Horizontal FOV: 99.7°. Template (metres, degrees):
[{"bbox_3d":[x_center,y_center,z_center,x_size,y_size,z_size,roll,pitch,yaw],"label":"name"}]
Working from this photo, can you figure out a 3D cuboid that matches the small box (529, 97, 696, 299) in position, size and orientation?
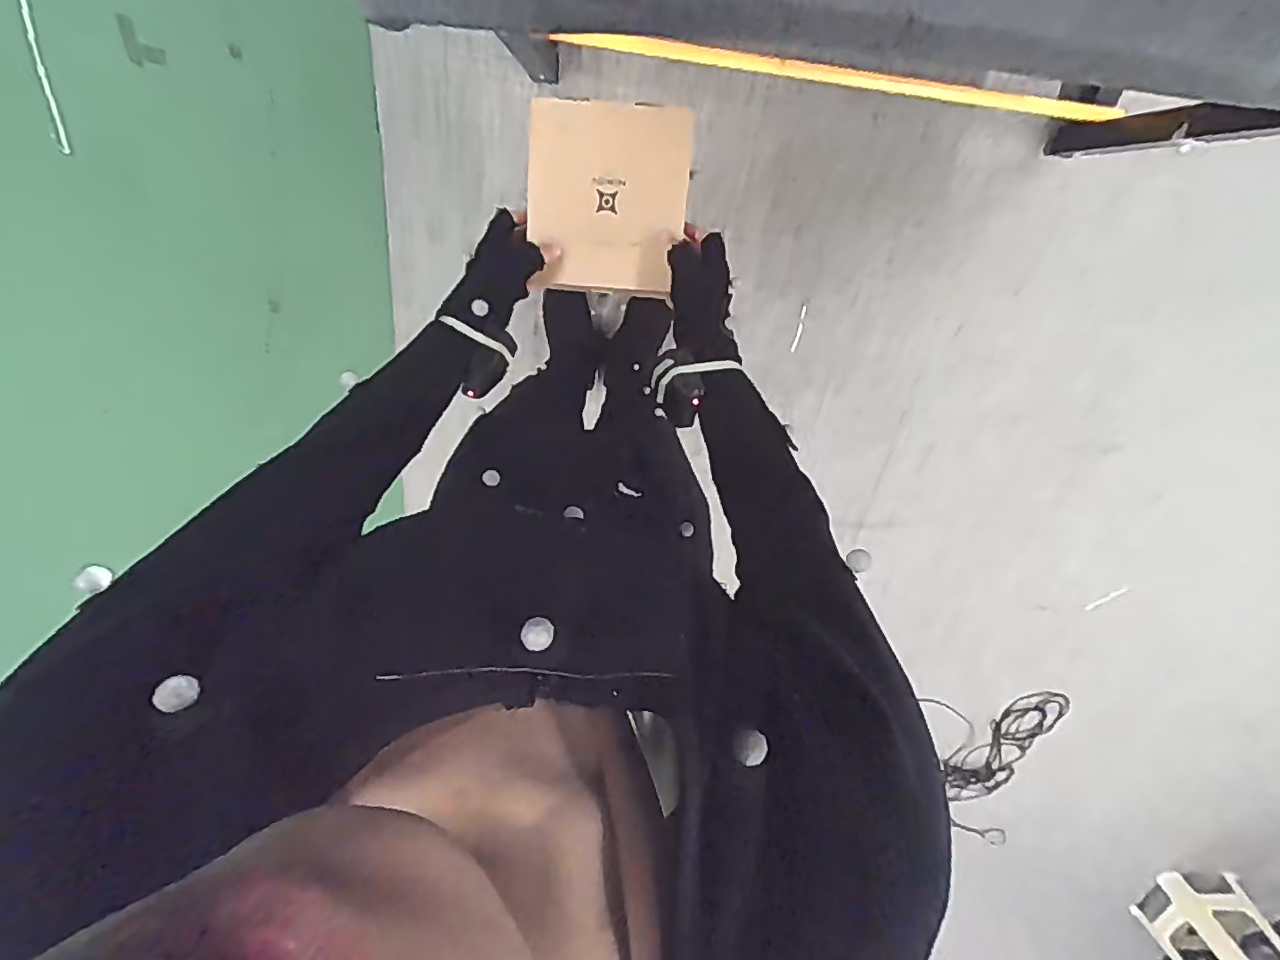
[{"bbox_3d":[-0.029,-0.313,0.634,0.168,0.176,0.179,4,107,2],"label":"small box"}]
